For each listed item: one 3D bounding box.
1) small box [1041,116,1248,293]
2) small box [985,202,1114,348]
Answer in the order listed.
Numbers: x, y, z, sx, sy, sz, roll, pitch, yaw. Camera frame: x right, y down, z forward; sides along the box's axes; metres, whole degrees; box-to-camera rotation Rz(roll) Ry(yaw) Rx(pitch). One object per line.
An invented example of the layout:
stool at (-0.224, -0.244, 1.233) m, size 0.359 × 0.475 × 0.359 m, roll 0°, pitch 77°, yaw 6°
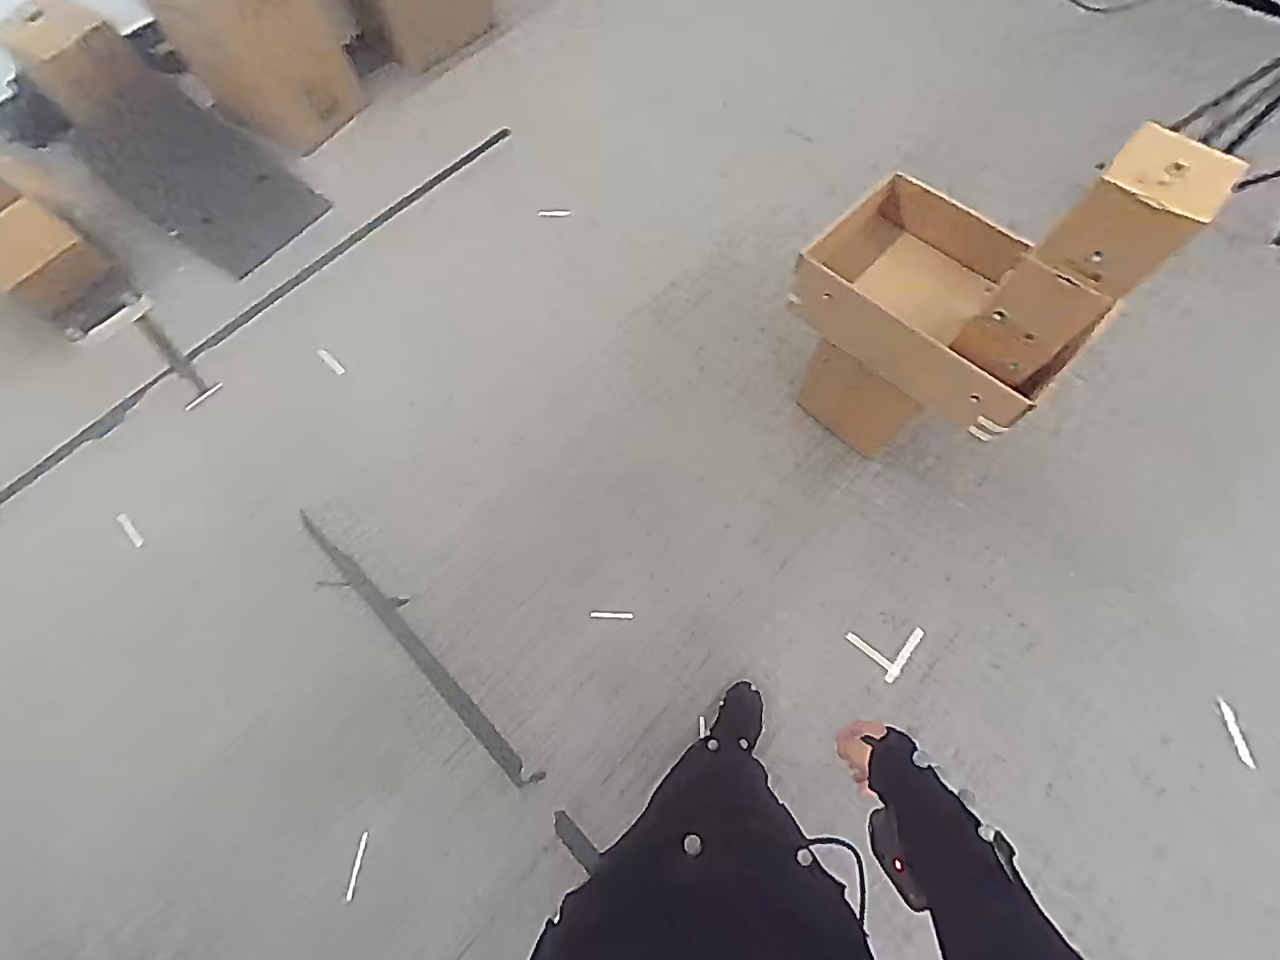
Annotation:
small box at (0.841, -0.462, 0.922) m, size 0.168 × 0.176 × 0.179 m, roll 39°, pitch 75°, yaw 16°
small box at (0.832, -0.398, 1.073) m, size 0.168 × 0.176 × 0.179 m, roll 39°, pitch 74°, yaw 15°
